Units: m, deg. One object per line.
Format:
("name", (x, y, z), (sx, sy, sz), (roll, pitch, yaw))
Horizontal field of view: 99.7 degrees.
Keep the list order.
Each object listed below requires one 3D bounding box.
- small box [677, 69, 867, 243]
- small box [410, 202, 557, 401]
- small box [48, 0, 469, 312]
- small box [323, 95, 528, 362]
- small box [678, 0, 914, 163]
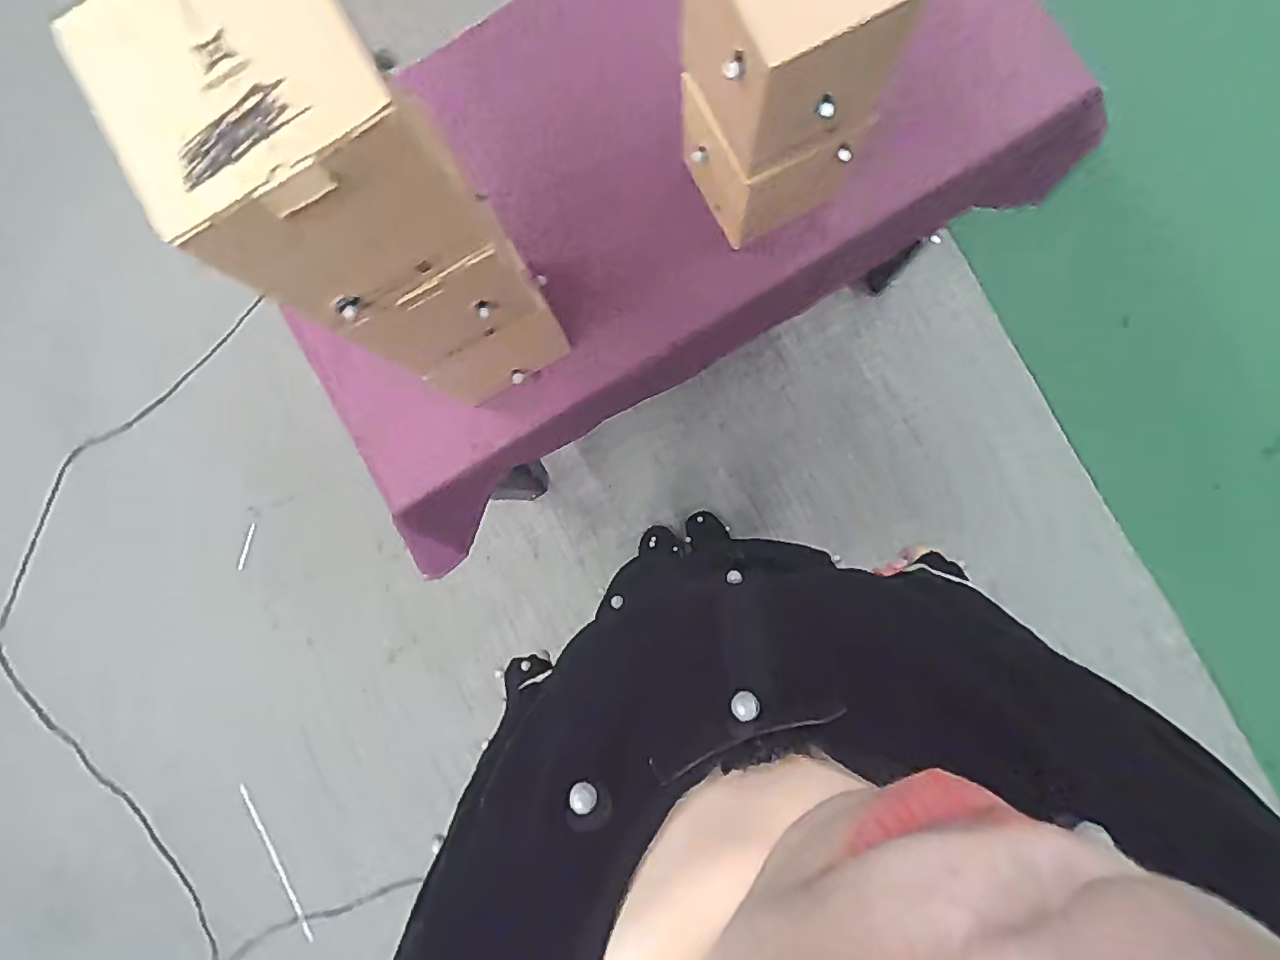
("small box", (0.163, -0.456, 0.724), (0.179, 0.176, 0.168), (-28, 85, 2))
("small box", (-0.228, -0.230, 0.742), (0.179, 0.176, 0.168), (-29, 85, 2))
("small box", (-0.262, -0.254, 0.416), (0.168, 0.176, 0.179), (-30, 84, 2))
("small box", (-0.242, -0.244, 0.579), (0.168, 0.176, 0.179), (-27, 85, 2))
("small box", (0.148, -0.470, 0.560), (0.168, 0.176, 0.179), (-26, 85, 2))
